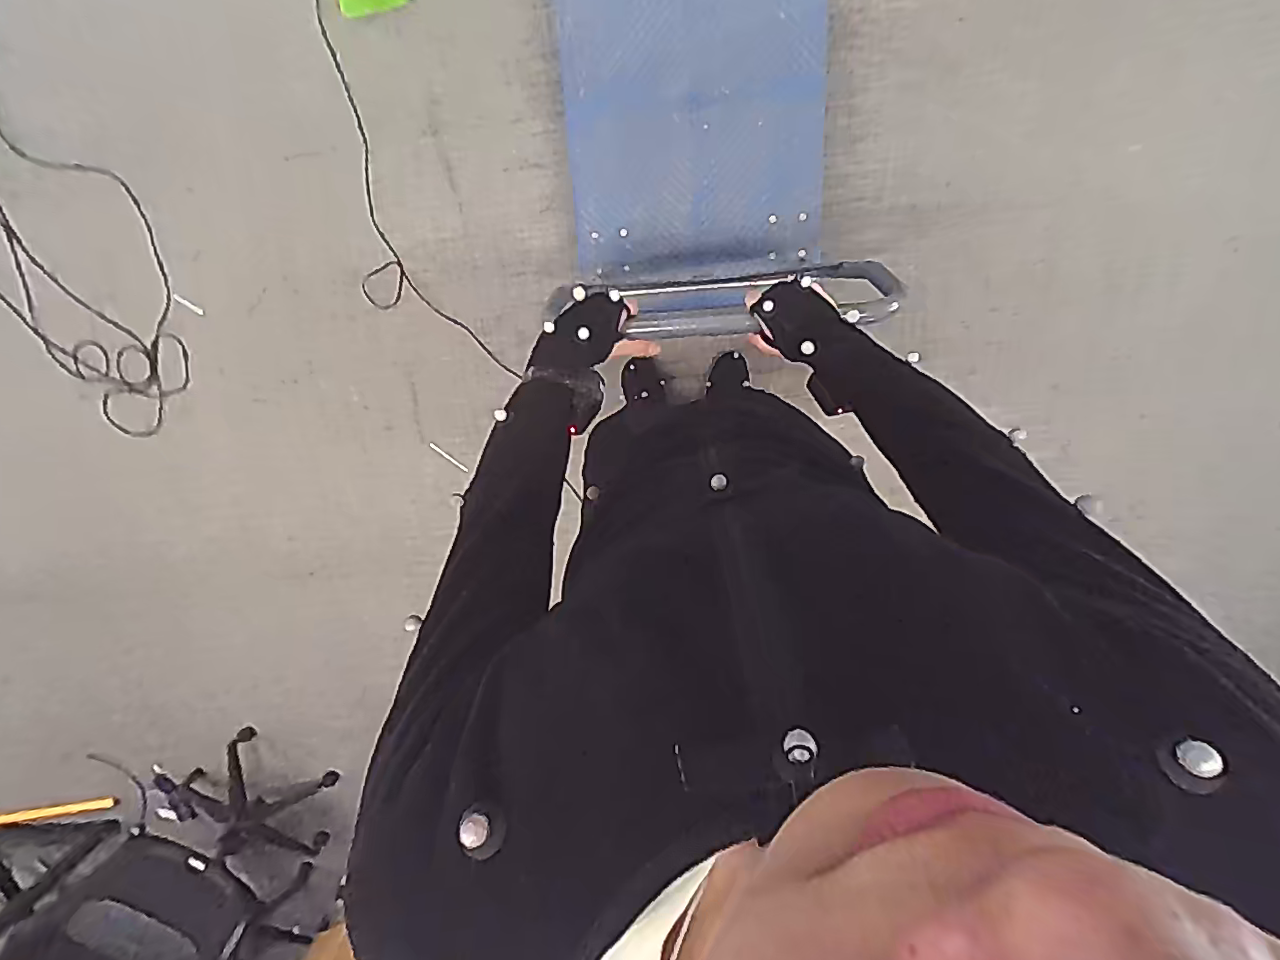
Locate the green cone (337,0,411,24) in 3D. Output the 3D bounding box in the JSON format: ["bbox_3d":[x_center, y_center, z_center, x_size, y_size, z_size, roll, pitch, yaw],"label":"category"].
[{"bbox_3d":[-0.683,-1.195,1.150,0.202,0.368,0.200,-8,107,9],"label":"green cone"}]
